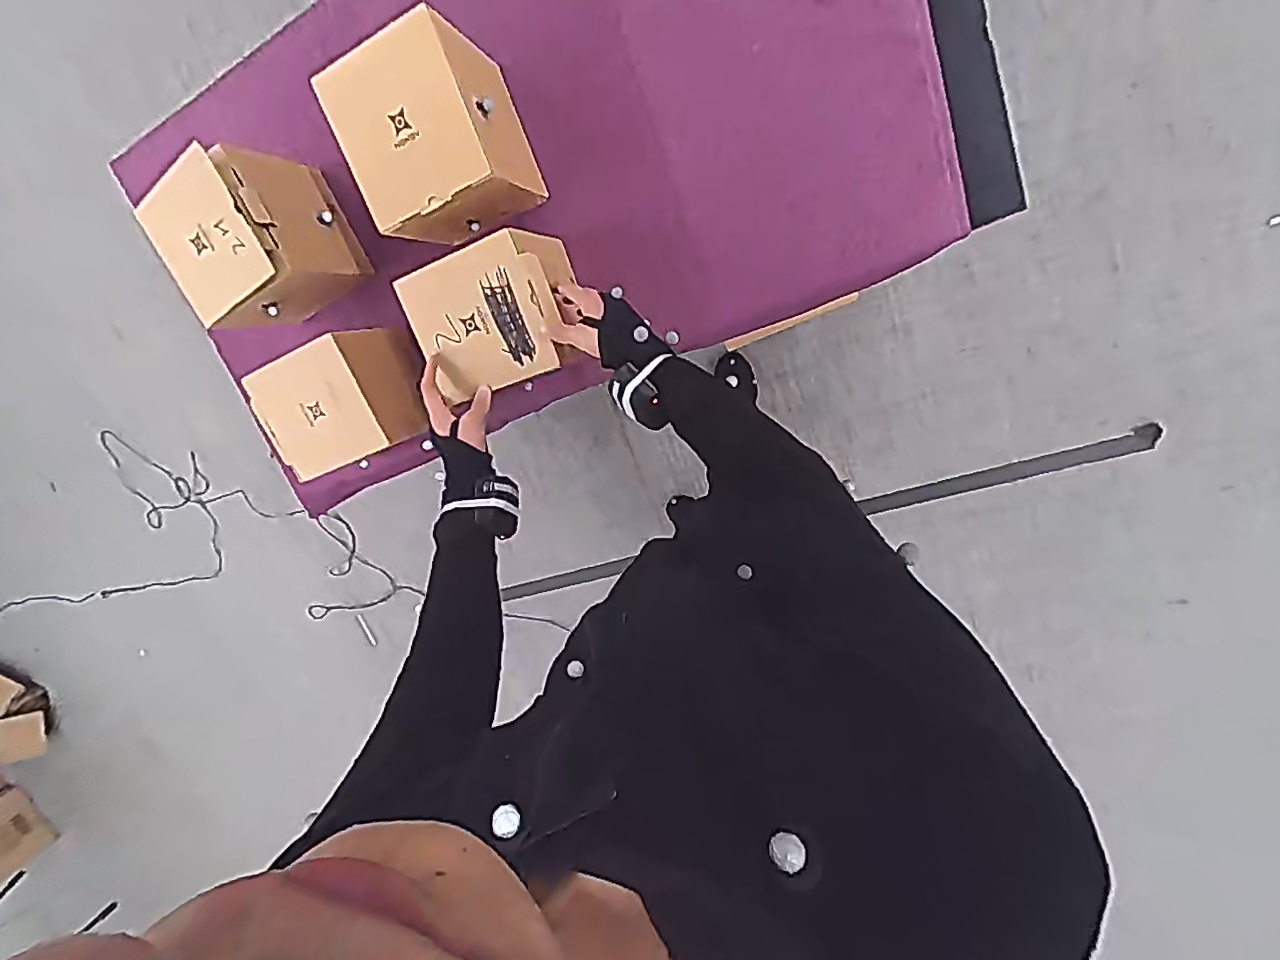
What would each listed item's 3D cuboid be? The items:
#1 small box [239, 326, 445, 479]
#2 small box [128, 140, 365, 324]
[{"bbox_3d":[-0.435,-0.122,0.818,0.179,0.176,0.168,-18,105,17],"label":"small box"},{"bbox_3d":[-0.538,-0.335,0.763,0.179,0.176,0.168,-21,104,18],"label":"small box"}]
